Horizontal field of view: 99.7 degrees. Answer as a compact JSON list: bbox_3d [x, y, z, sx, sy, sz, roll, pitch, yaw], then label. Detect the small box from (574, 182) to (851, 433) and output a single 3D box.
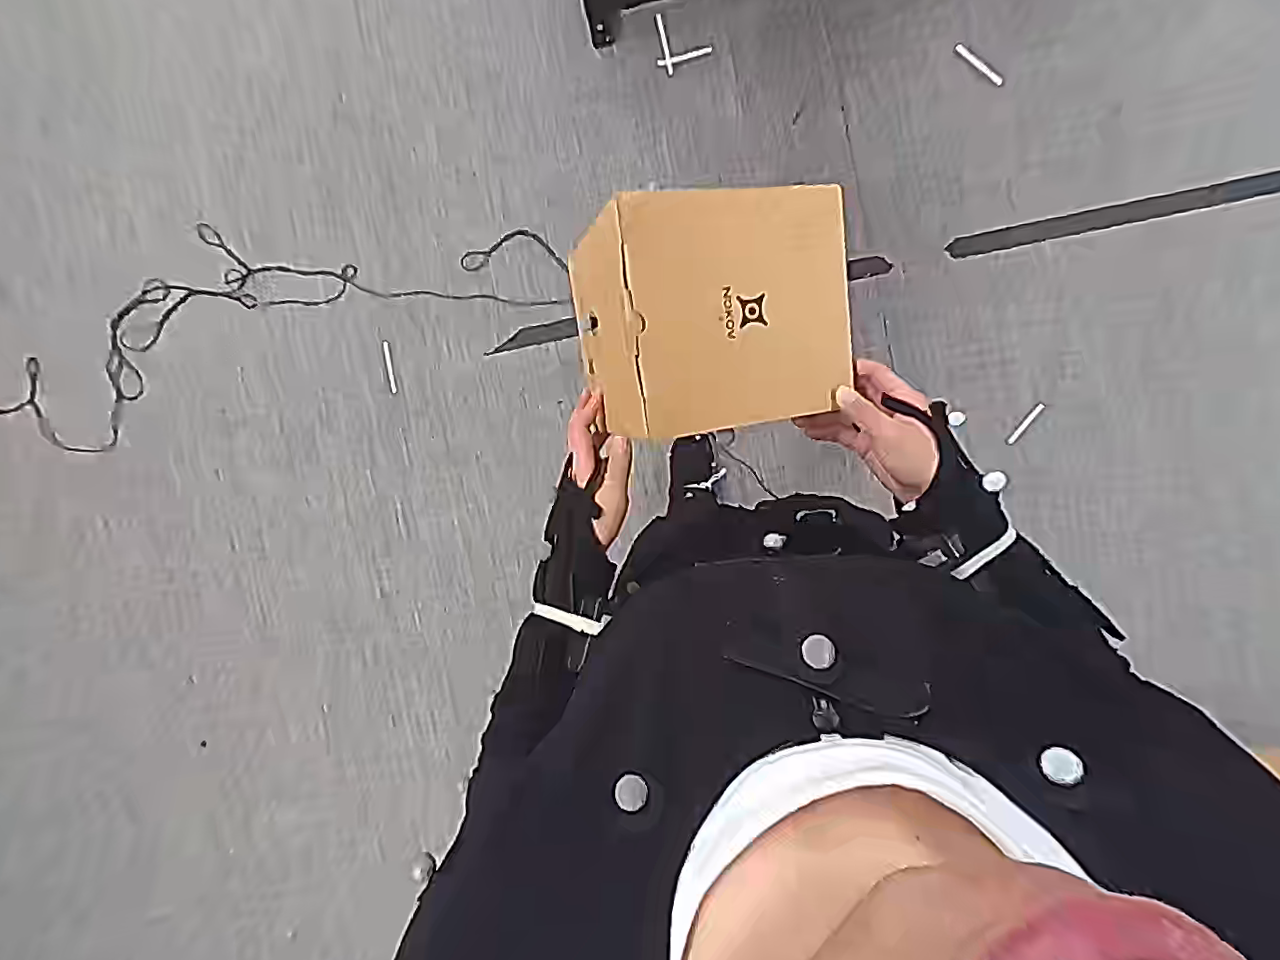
[{"bbox_3d":[0.053,-0.139,0.465,0.179,0.176,0.168,-11,101,-15],"label":"small box"}]
